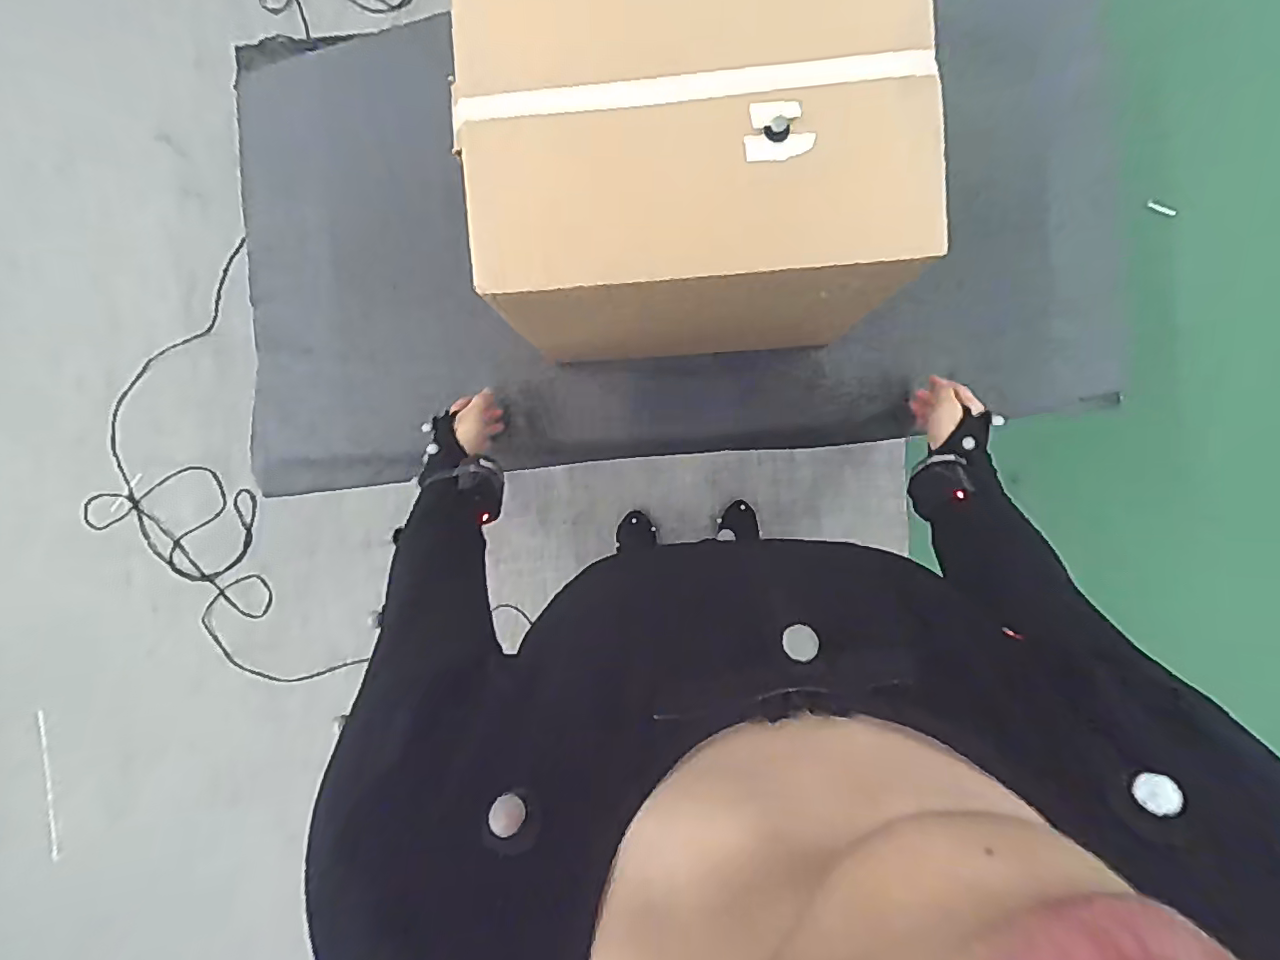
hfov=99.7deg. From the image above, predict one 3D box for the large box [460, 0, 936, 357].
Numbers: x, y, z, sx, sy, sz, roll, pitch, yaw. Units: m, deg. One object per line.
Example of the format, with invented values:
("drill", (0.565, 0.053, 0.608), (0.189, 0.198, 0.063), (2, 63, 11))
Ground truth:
("large box", (0.051, -0.342, 0.621), (0.408, 0.320, 0.320), (-4, 92, 2))
